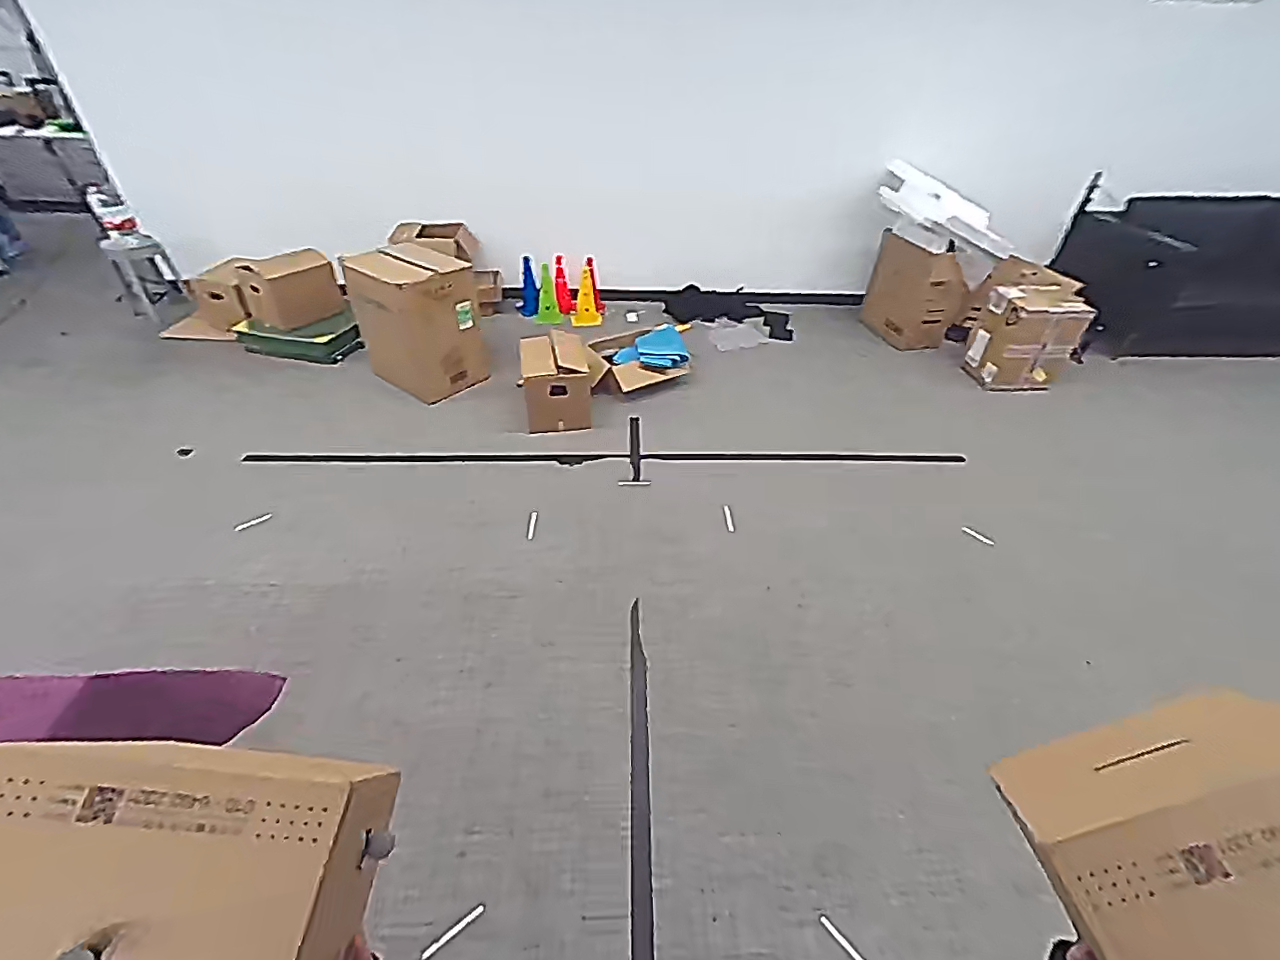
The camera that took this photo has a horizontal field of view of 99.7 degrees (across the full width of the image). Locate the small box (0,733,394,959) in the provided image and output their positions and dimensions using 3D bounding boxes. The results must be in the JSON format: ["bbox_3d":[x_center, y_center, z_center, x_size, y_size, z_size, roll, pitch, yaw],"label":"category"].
[{"bbox_3d":[-0.250,0.236,0.288,0.168,0.179,0.176,12,61,-9],"label":"small box"}]

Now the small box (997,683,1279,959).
[{"bbox_3d":[0.337,0.229,0.300,0.168,0.179,0.176,-29,67,16],"label":"small box"}]
